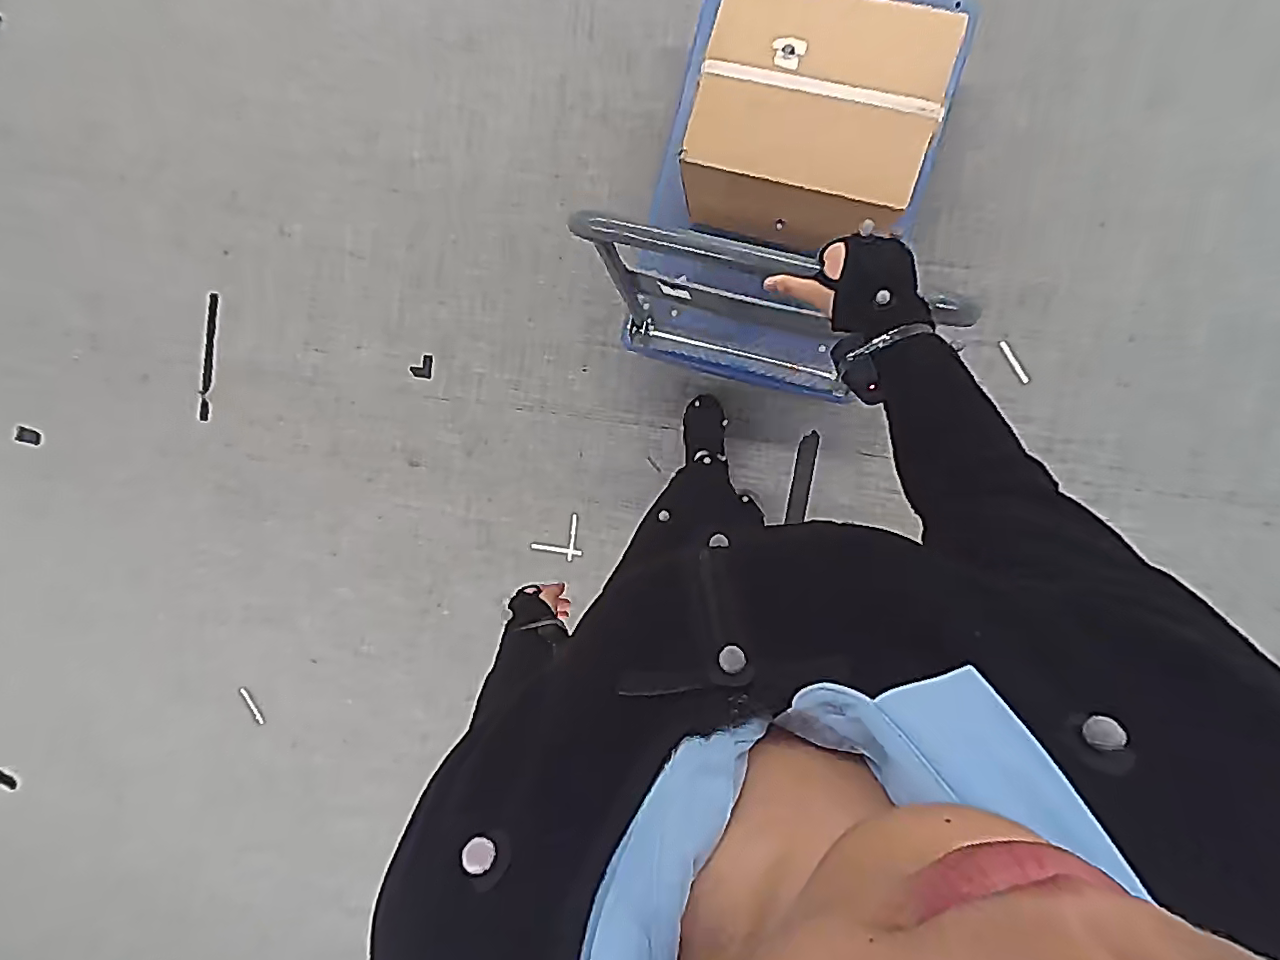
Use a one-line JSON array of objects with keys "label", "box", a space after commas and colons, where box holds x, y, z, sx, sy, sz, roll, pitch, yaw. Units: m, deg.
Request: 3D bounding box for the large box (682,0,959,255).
[{"label": "large box", "box": [0.328, -0.683, 1.081, 0.408, 0.320, 0.320, 16, 97, 8]}]
